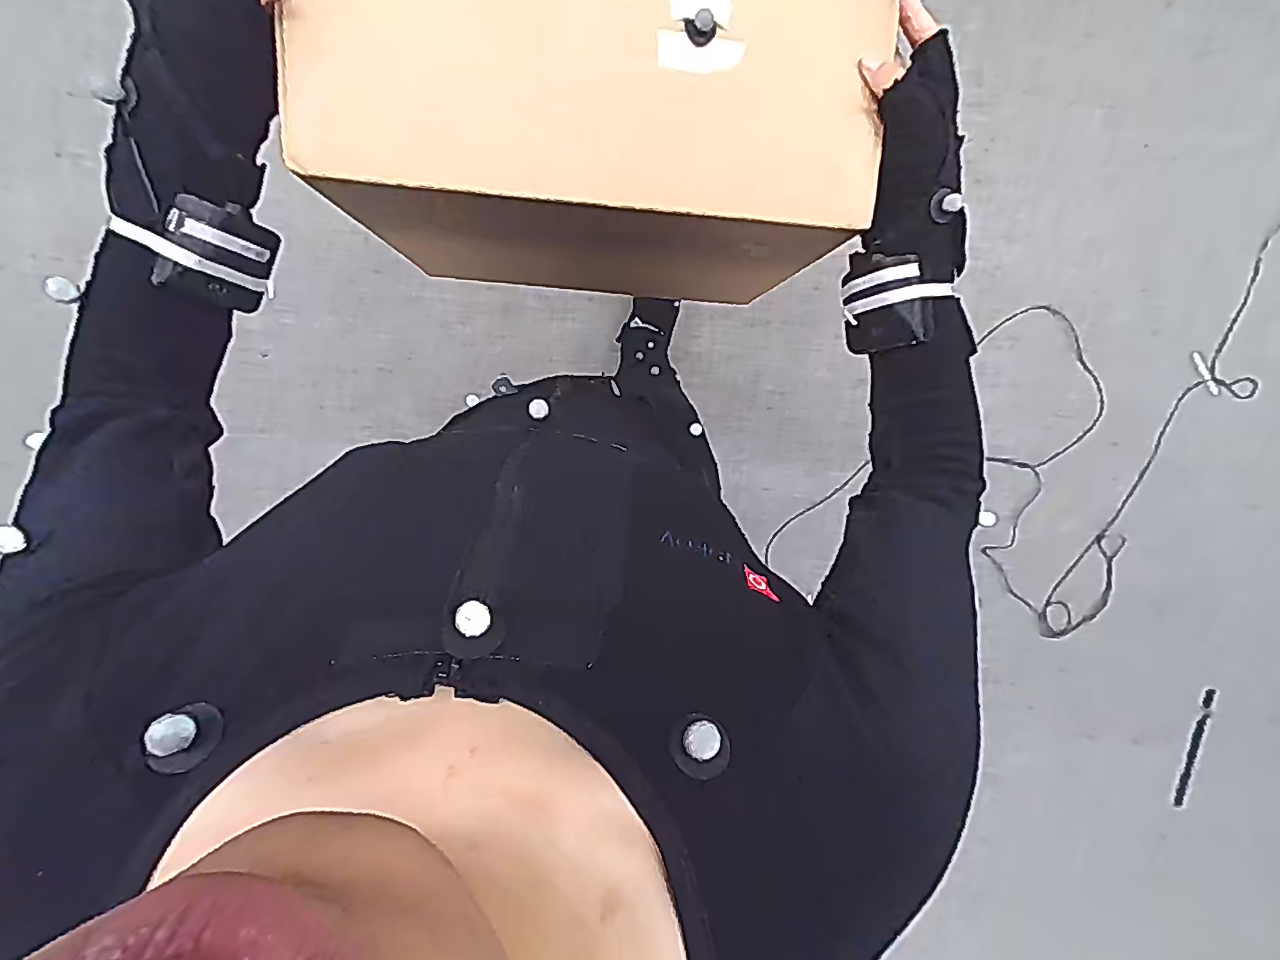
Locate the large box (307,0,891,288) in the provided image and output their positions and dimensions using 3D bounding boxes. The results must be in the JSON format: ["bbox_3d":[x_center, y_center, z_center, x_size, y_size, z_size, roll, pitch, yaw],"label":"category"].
[{"bbox_3d":[-0.033,-0.381,0.511,0.408,0.320,0.320,2,99,-6],"label":"large box"}]
